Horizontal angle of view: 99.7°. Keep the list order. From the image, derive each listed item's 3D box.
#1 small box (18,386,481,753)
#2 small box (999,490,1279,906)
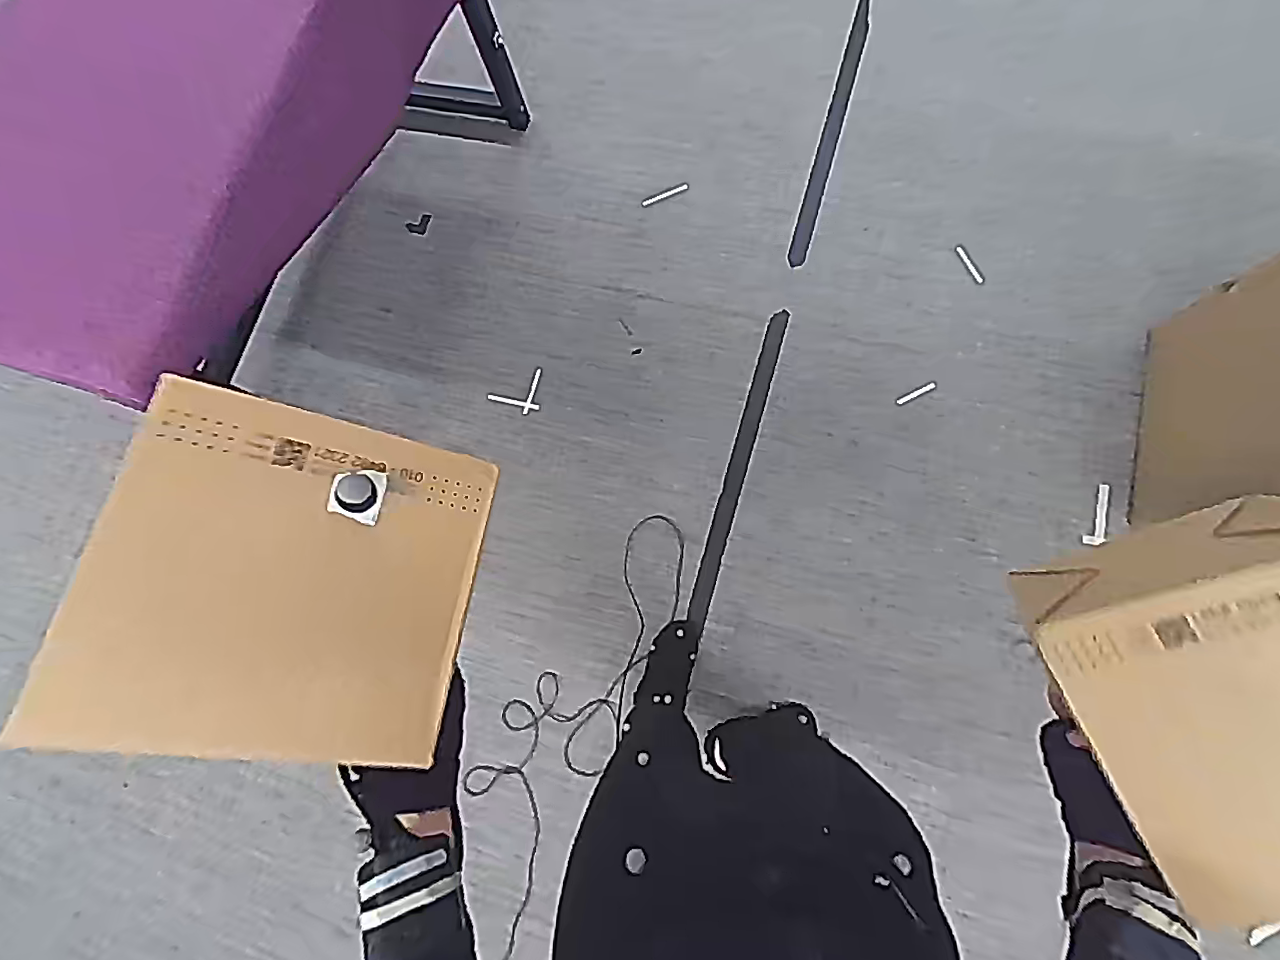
[{"bbox_3d":[-0.211,0.063,0.353,0.168,0.179,0.176,15,71,-21],"label":"small box"},{"bbox_3d":[0.354,0.112,0.335,0.168,0.179,0.176,-30,76,27],"label":"small box"}]
